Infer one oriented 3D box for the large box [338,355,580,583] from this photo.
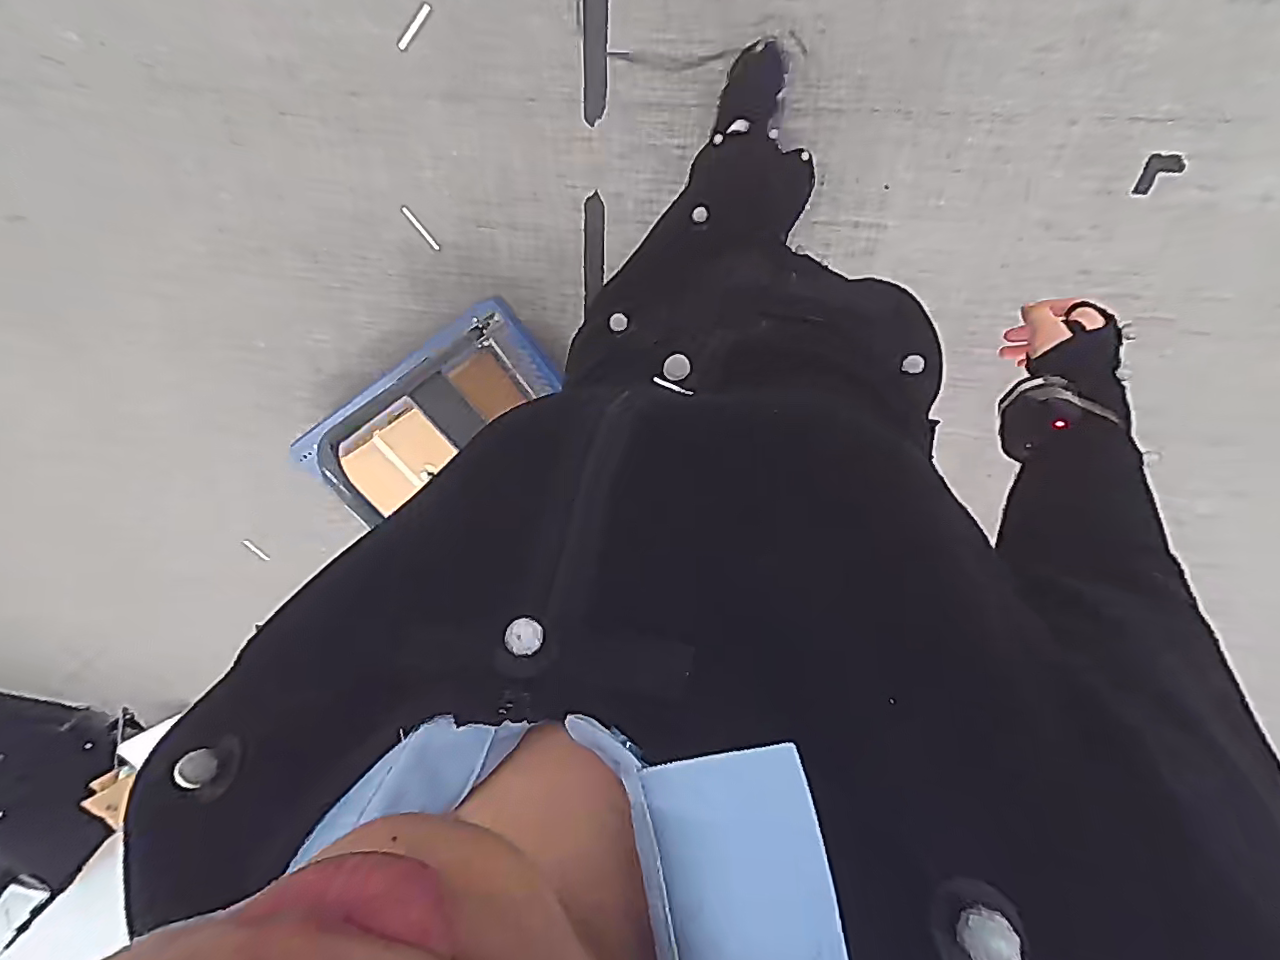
[{"bbox_3d":[-0.414,-0.025,1.329,0.320,0.320,0.408,-25,114,25],"label":"large box"}]
